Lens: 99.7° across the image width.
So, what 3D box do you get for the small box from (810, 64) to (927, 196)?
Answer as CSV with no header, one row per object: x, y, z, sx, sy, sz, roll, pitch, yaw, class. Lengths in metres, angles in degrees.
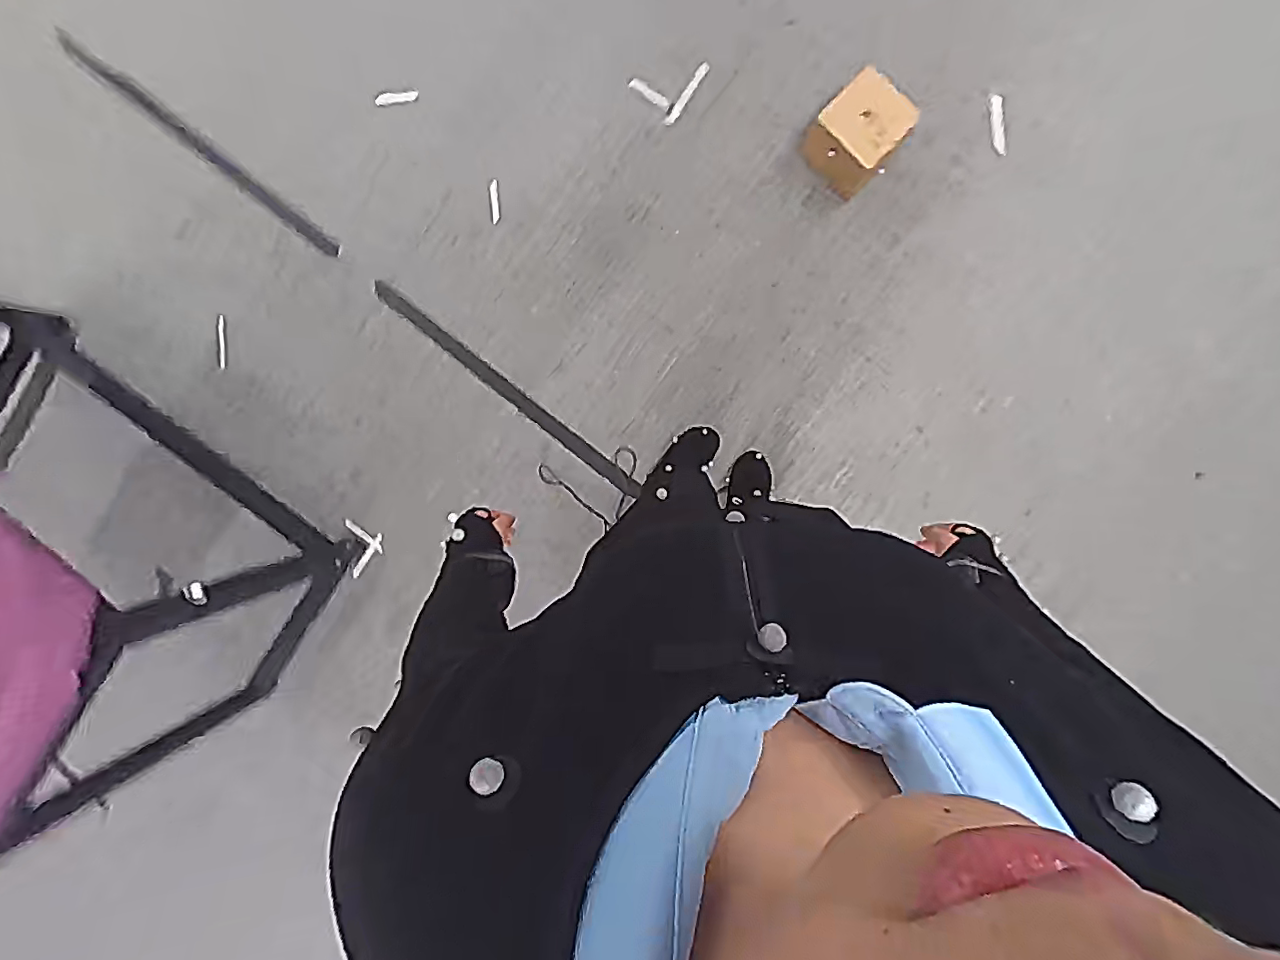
0.544,-0.838,1.316,0.168,0.176,0.179,-43,90,7,small box
